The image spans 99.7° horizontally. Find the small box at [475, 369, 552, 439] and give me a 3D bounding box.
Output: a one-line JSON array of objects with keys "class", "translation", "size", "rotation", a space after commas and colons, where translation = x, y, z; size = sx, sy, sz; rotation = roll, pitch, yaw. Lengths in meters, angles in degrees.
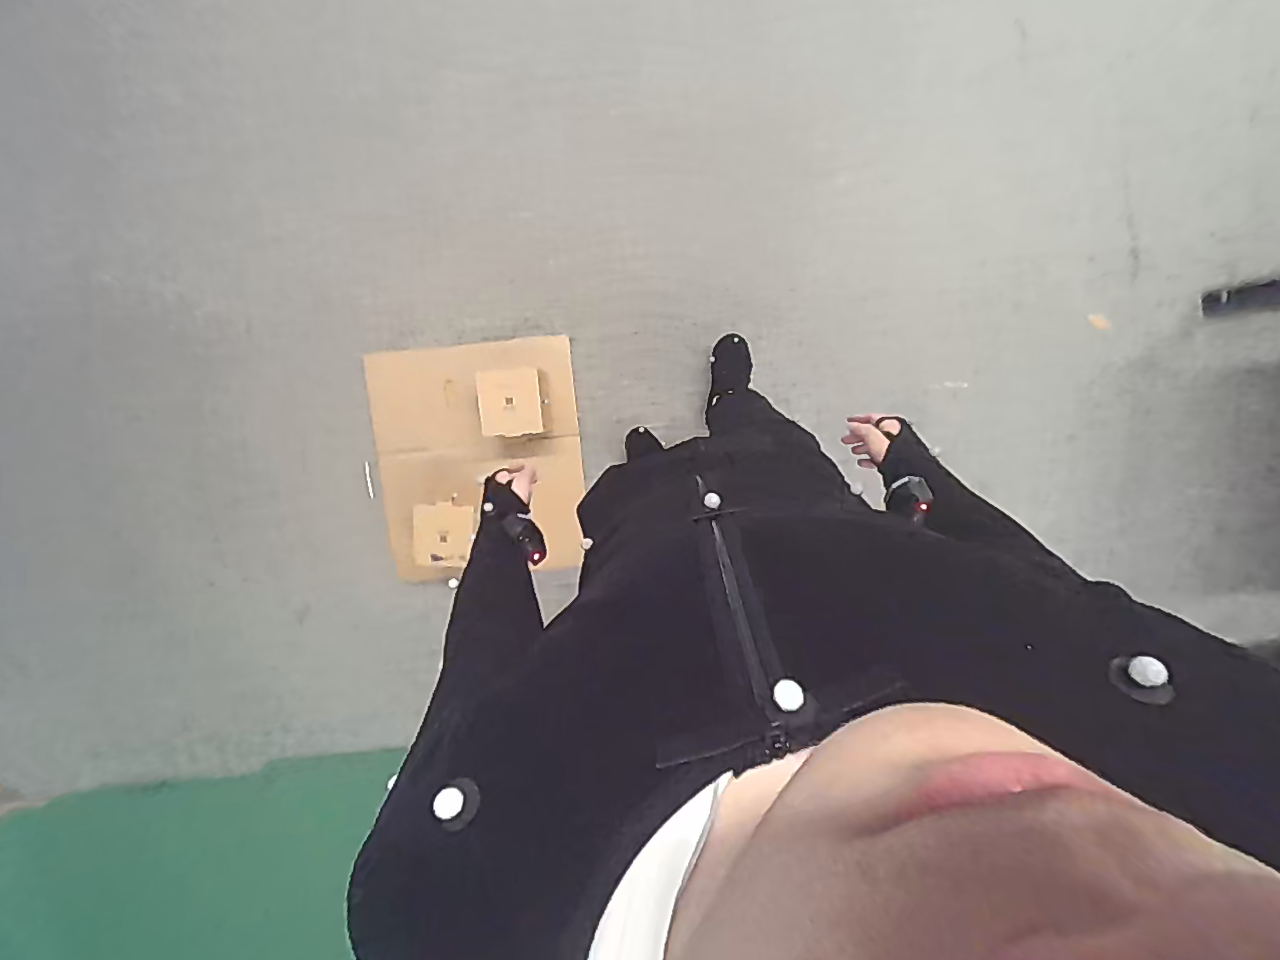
[{"class": "small box", "translation": [-0.345, -0.211, 1.506], "size": [0.168, 0.176, 0.179], "rotation": [-5, 98, 0]}]

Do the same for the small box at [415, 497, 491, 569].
[{"class": "small box", "translation": [-0.530, 0.146, 1.548], "size": [0.168, 0.176, 0.179], "rotation": [3, 97, 0]}]
